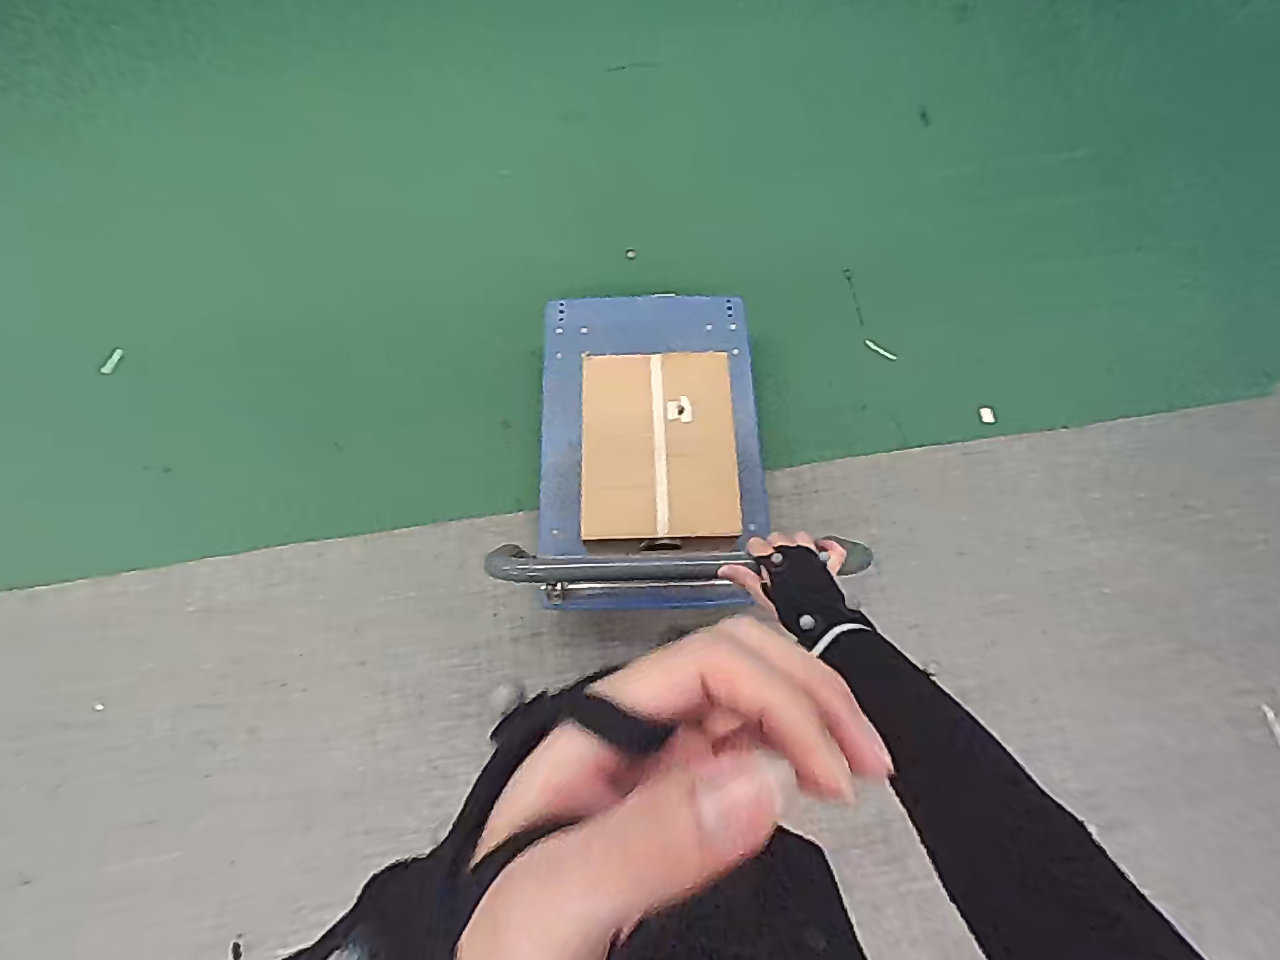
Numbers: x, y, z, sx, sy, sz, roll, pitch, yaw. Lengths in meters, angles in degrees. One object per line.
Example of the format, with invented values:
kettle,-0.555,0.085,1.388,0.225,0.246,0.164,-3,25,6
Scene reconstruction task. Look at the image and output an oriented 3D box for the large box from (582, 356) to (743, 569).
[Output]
large box,0.040,-0.025,1.241,0.320,0.320,0.408,-2,71,-1
